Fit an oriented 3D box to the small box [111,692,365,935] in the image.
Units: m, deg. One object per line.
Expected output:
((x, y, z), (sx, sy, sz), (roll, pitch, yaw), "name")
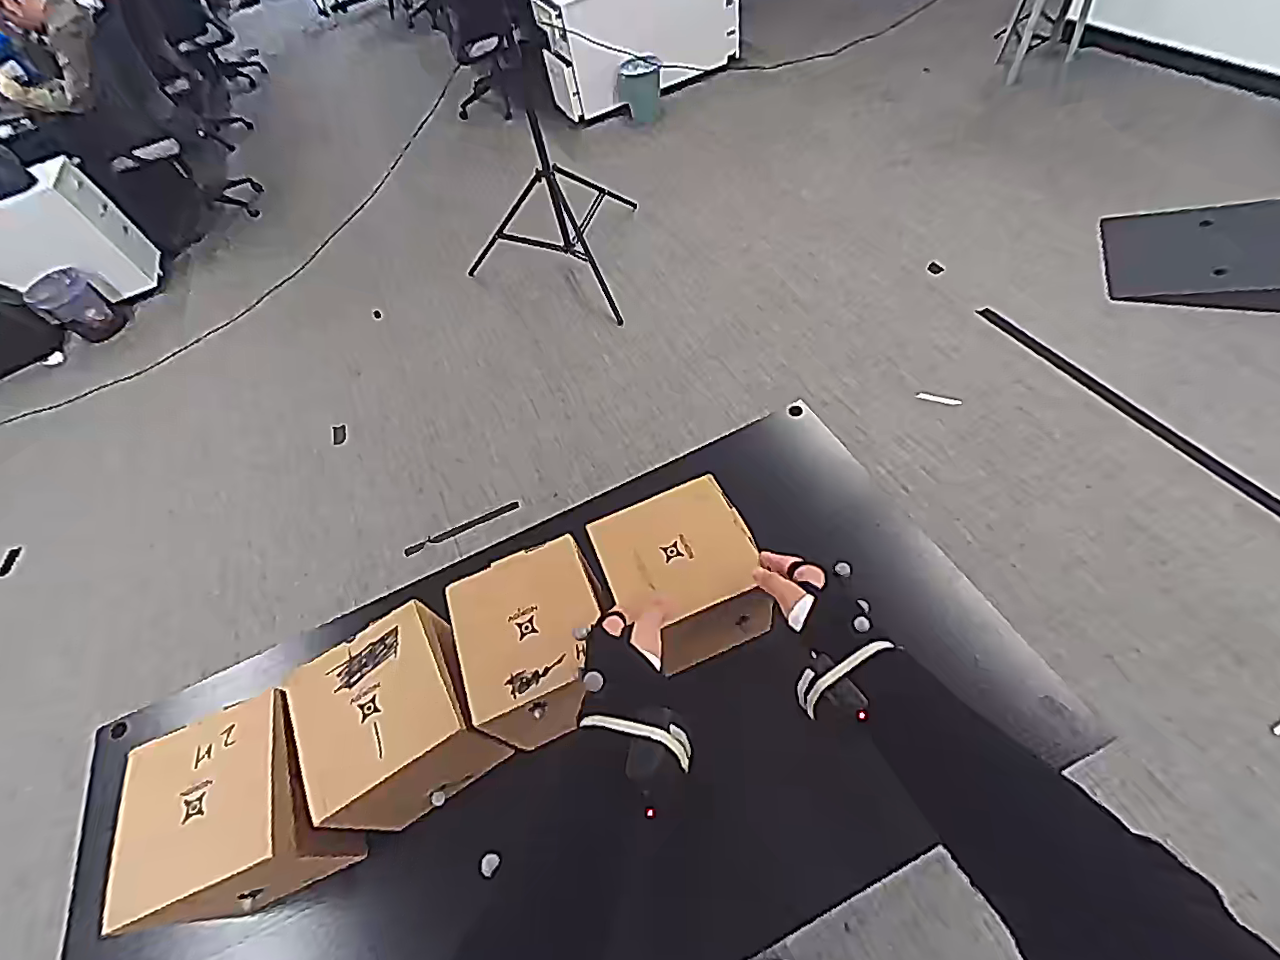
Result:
((-0.445, 0.382, 0.631), (0.168, 0.176, 0.179), (-23, 54, -6), "small box")
